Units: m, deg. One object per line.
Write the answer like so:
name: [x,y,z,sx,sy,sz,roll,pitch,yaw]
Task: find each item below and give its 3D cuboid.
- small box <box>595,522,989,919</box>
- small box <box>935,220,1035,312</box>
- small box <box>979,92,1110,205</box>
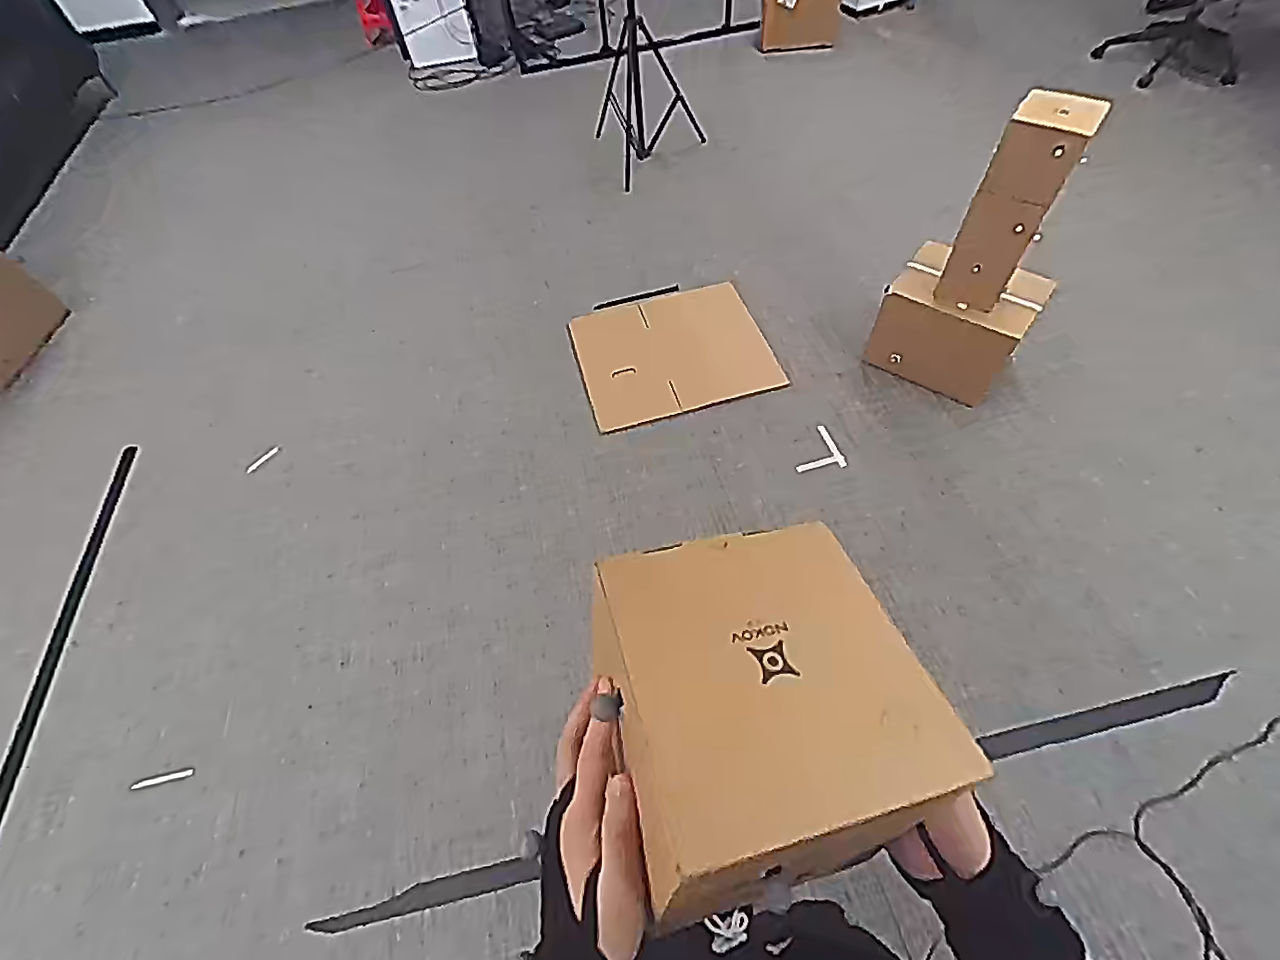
small box: [0.068,0.157,0.358,0.168,0.176,0.179,-8,44,-14]
small box: [1.008,-0.628,1.597,0.179,0.176,0.168,30,66,21]
small box: [0.978,-0.803,1.320,0.179,0.176,0.168,31,65,22]
